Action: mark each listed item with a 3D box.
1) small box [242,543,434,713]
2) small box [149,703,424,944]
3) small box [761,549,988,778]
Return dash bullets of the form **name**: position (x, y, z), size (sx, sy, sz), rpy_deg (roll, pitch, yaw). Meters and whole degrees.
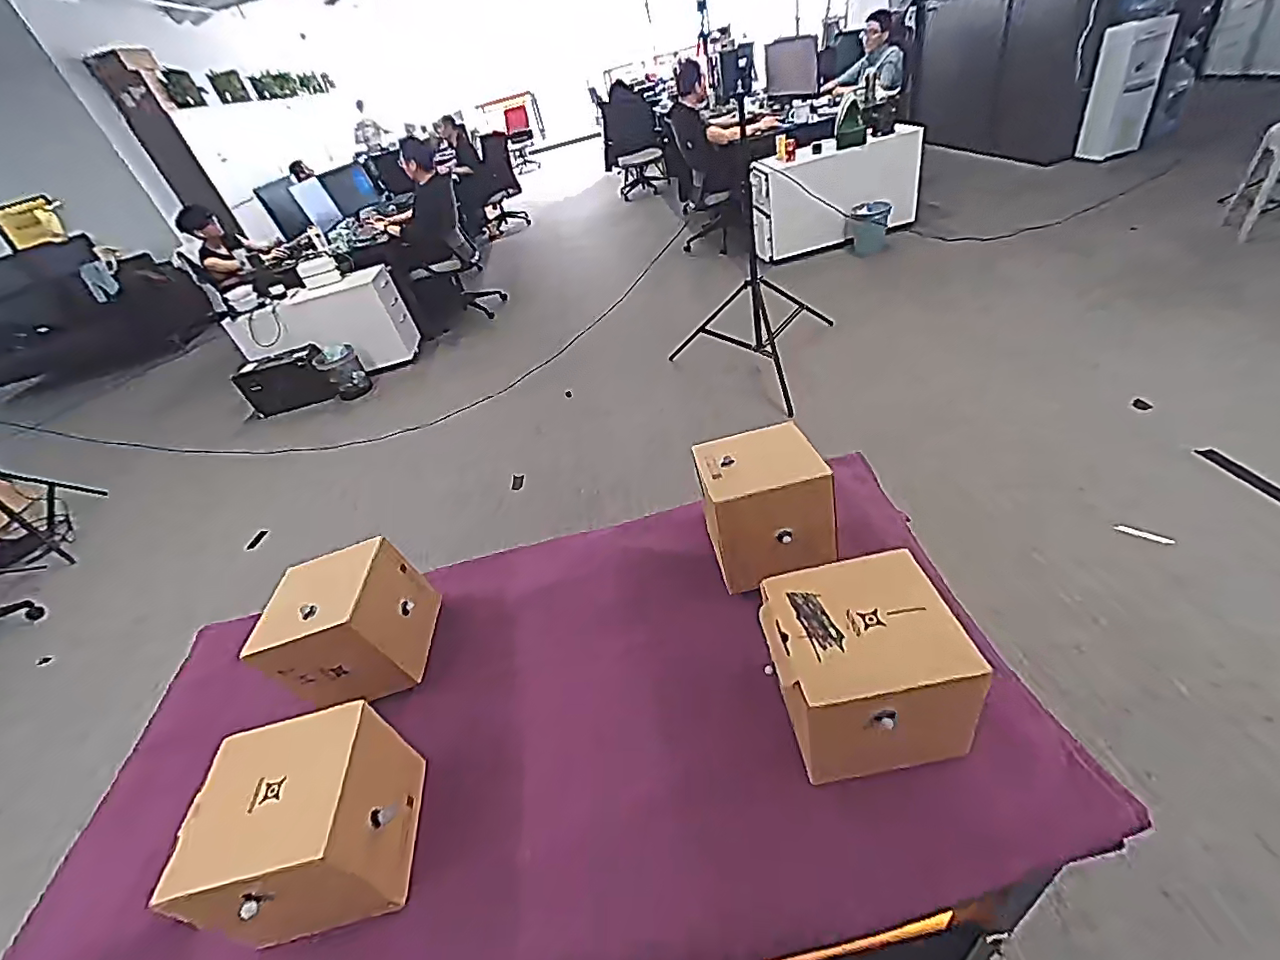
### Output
- **small box**: position (-0.436, 0.221, 0.822), size (0.179, 0.168, 0.176), rpy_deg (-19, 36, 8)
- **small box**: position (-0.371, 0.389, 0.614), size (0.179, 0.176, 0.168), rpy_deg (-16, 38, 0)
- **small box**: position (0.250, 0.209, 0.610), size (0.179, 0.176, 0.168), rpy_deg (-13, 37, 3)
